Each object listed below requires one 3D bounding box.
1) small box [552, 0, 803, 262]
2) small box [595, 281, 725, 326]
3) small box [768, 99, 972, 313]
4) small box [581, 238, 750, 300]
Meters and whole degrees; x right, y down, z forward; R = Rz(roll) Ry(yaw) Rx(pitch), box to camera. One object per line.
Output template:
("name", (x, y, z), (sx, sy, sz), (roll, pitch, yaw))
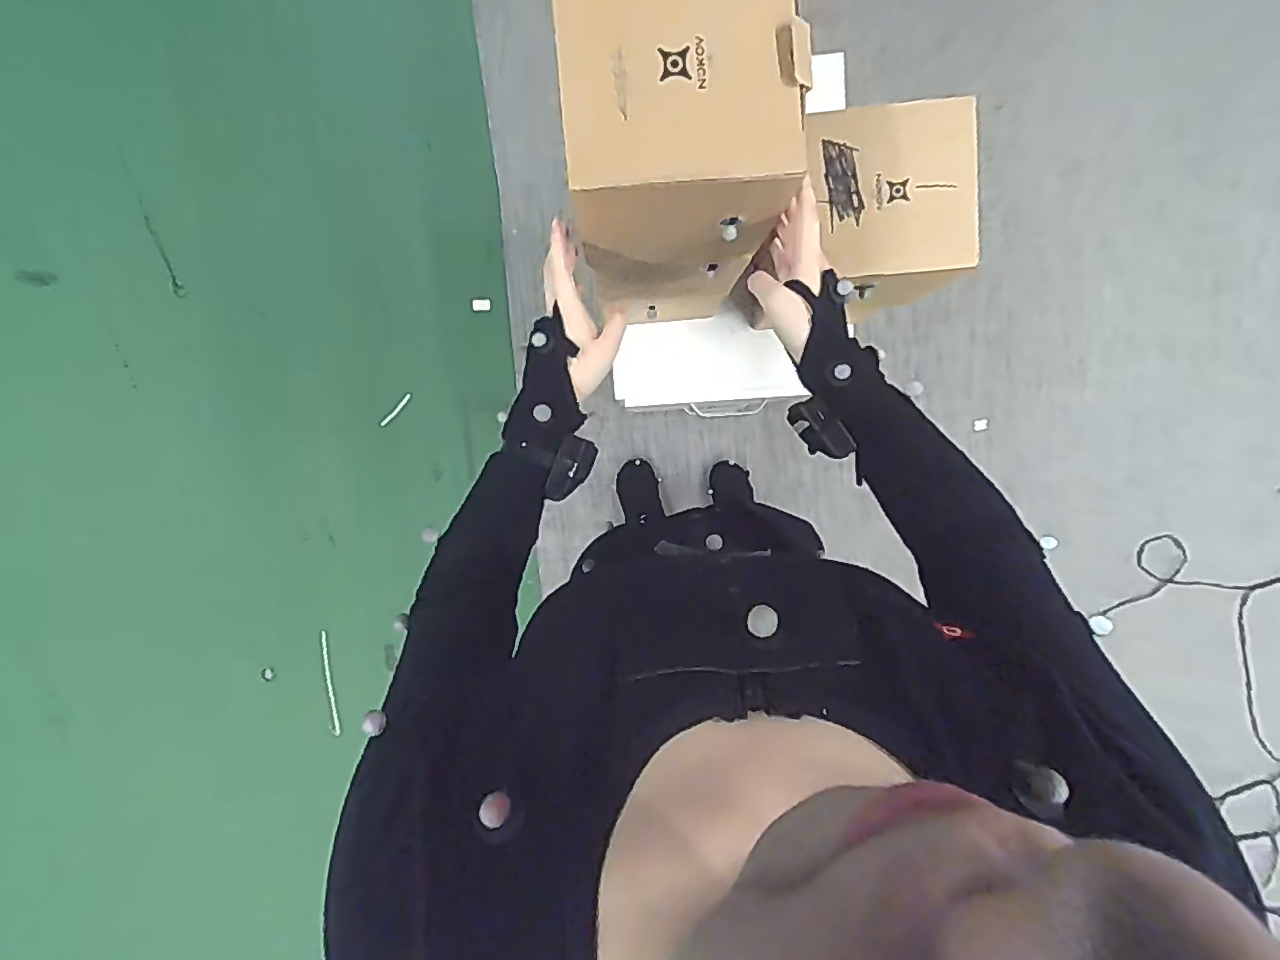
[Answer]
("small box", (0.025, -0.303, 0.467), (0.179, 0.176, 0.168), (-5, 92, -1))
("small box", (0.020, -0.330, 0.793), (0.179, 0.176, 0.168), (-5, 94, -1))
("small box", (0.249, -0.299, 0.628), (0.179, 0.176, 0.168), (-4, 94, 1))
("small box", (0.021, -0.315, 0.630), (0.179, 0.176, 0.168), (-4, 94, -2))
